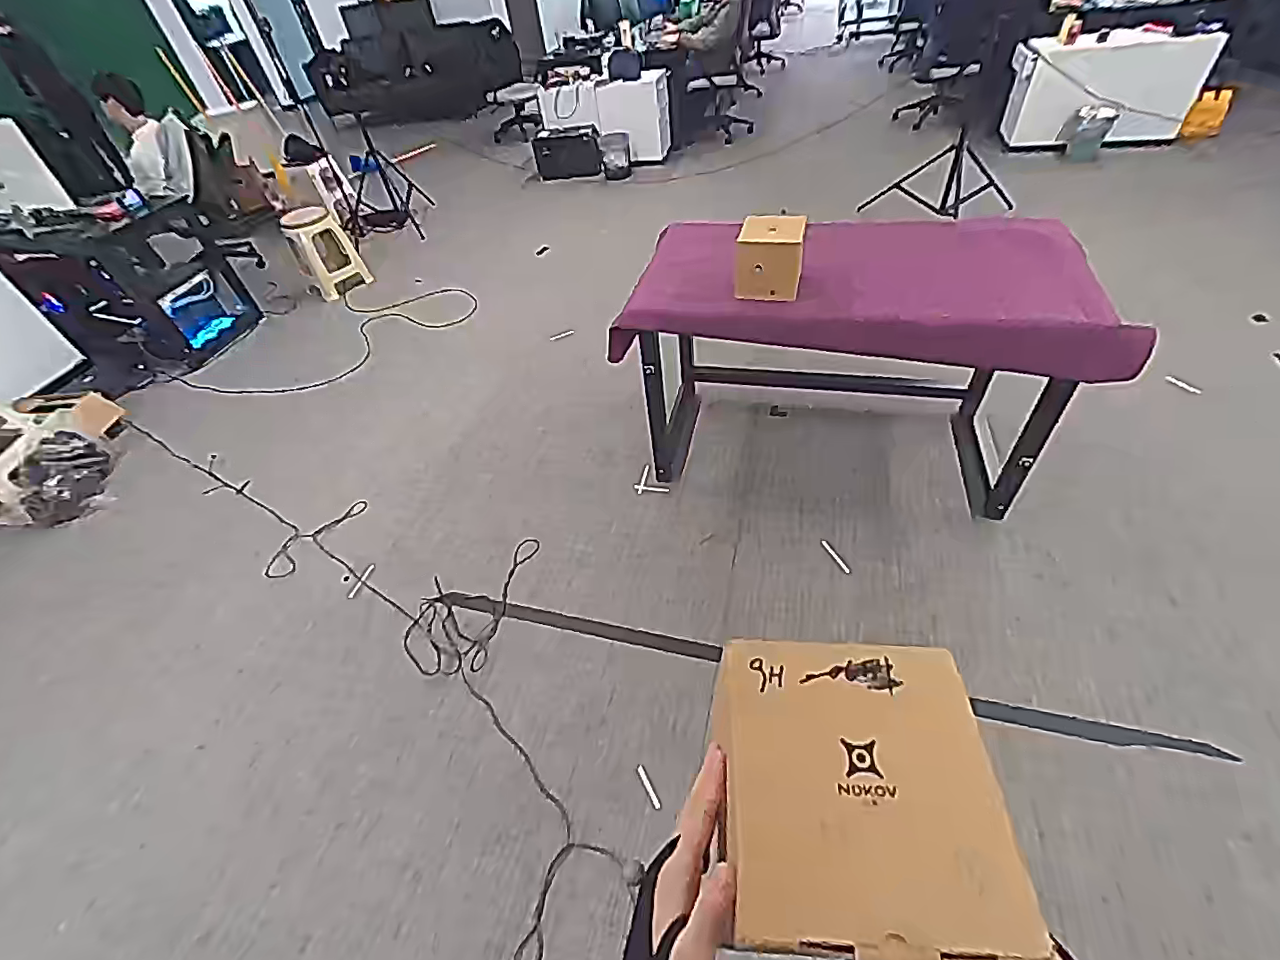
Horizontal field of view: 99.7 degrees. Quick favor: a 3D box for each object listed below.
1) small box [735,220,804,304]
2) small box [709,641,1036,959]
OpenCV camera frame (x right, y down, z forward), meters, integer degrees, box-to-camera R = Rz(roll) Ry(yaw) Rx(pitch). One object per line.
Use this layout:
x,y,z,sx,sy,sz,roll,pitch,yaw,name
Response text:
0.362,-0.608,1.515,0.168,0.176,0.179,8,47,15,small box
0.142,0.242,0.410,0.168,0.176,0.179,2,49,3,small box
